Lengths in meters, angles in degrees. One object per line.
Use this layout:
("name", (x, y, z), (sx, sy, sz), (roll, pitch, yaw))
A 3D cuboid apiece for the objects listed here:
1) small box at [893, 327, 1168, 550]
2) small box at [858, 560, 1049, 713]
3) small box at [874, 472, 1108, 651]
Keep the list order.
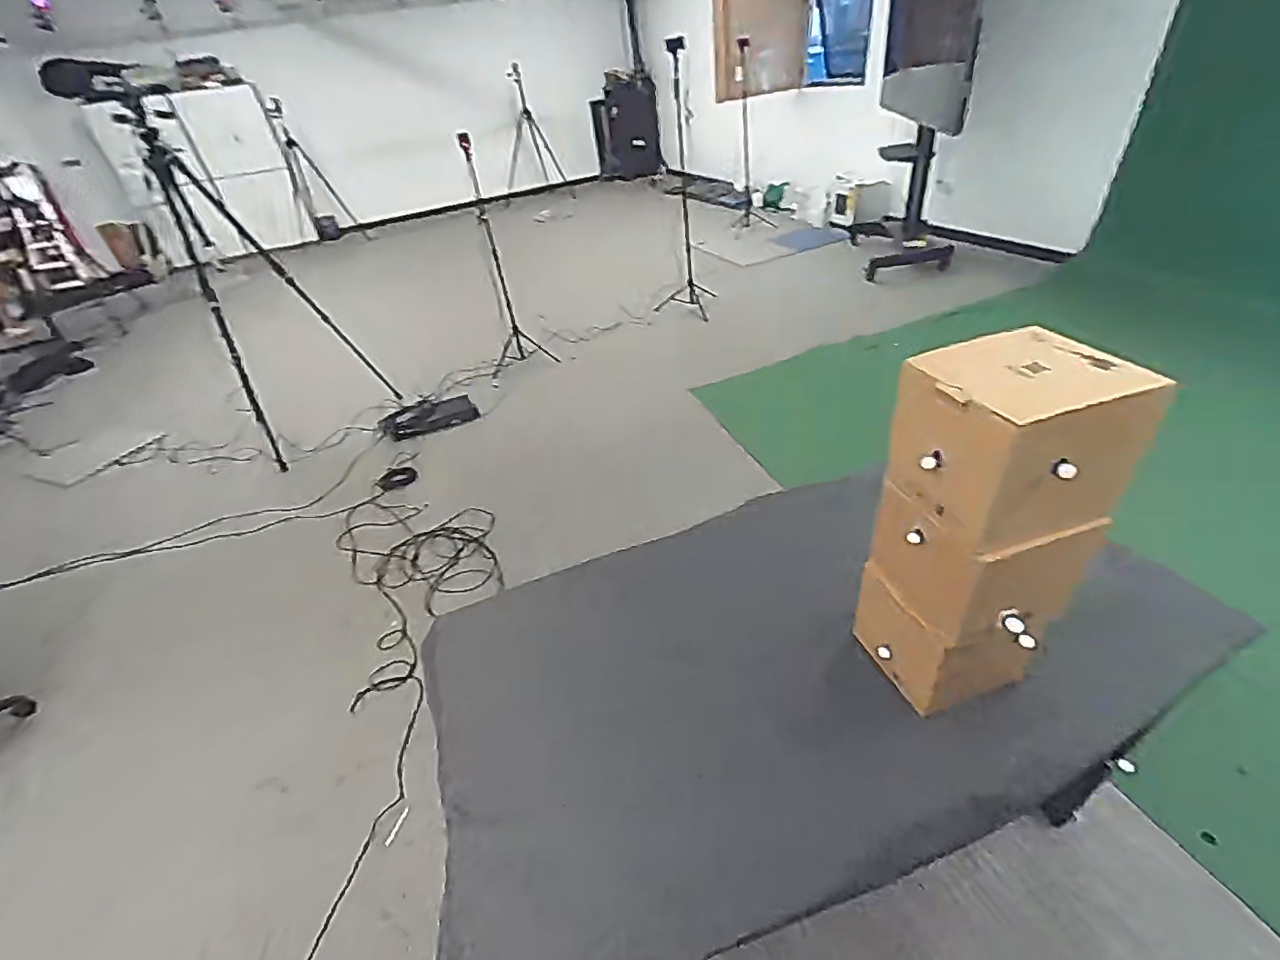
("small box", (0.407, -0.047, 0.605), (0.179, 0.176, 0.168), (-16, 37, -6))
("small box", (0.450, 0.209, 0.802), (0.179, 0.176, 0.168), (-17, 37, -9))
("small box", (0.429, 0.084, 0.700), (0.168, 0.176, 0.179), (-17, 38, -7))
